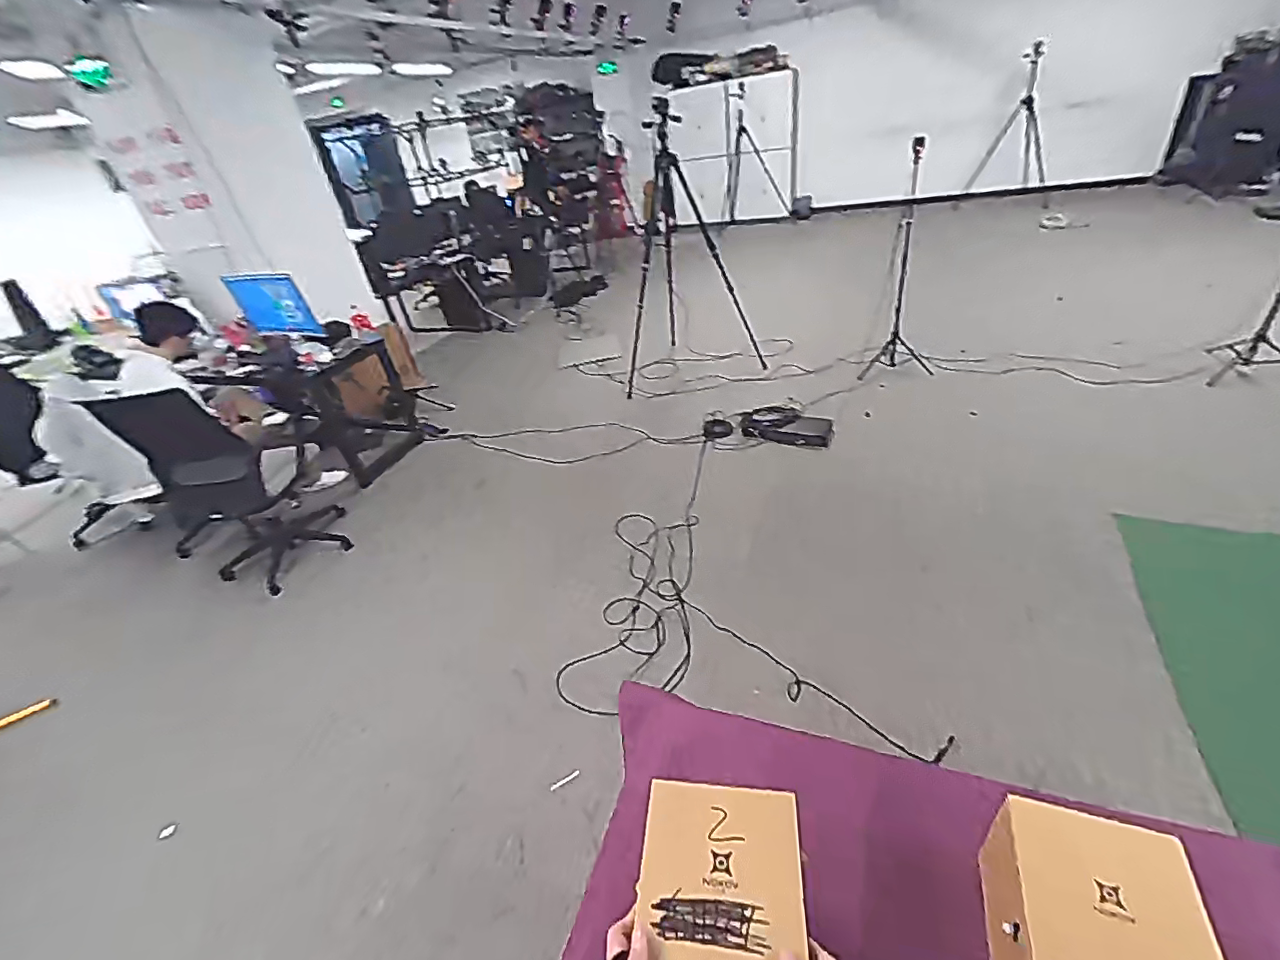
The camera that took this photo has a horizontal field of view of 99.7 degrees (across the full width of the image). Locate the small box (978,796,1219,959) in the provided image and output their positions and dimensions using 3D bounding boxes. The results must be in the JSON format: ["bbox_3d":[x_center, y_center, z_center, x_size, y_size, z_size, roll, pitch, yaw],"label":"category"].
[{"bbox_3d":[0.501,0.508,0.613,0.168,0.176,0.179,6,38,21],"label":"small box"}]
